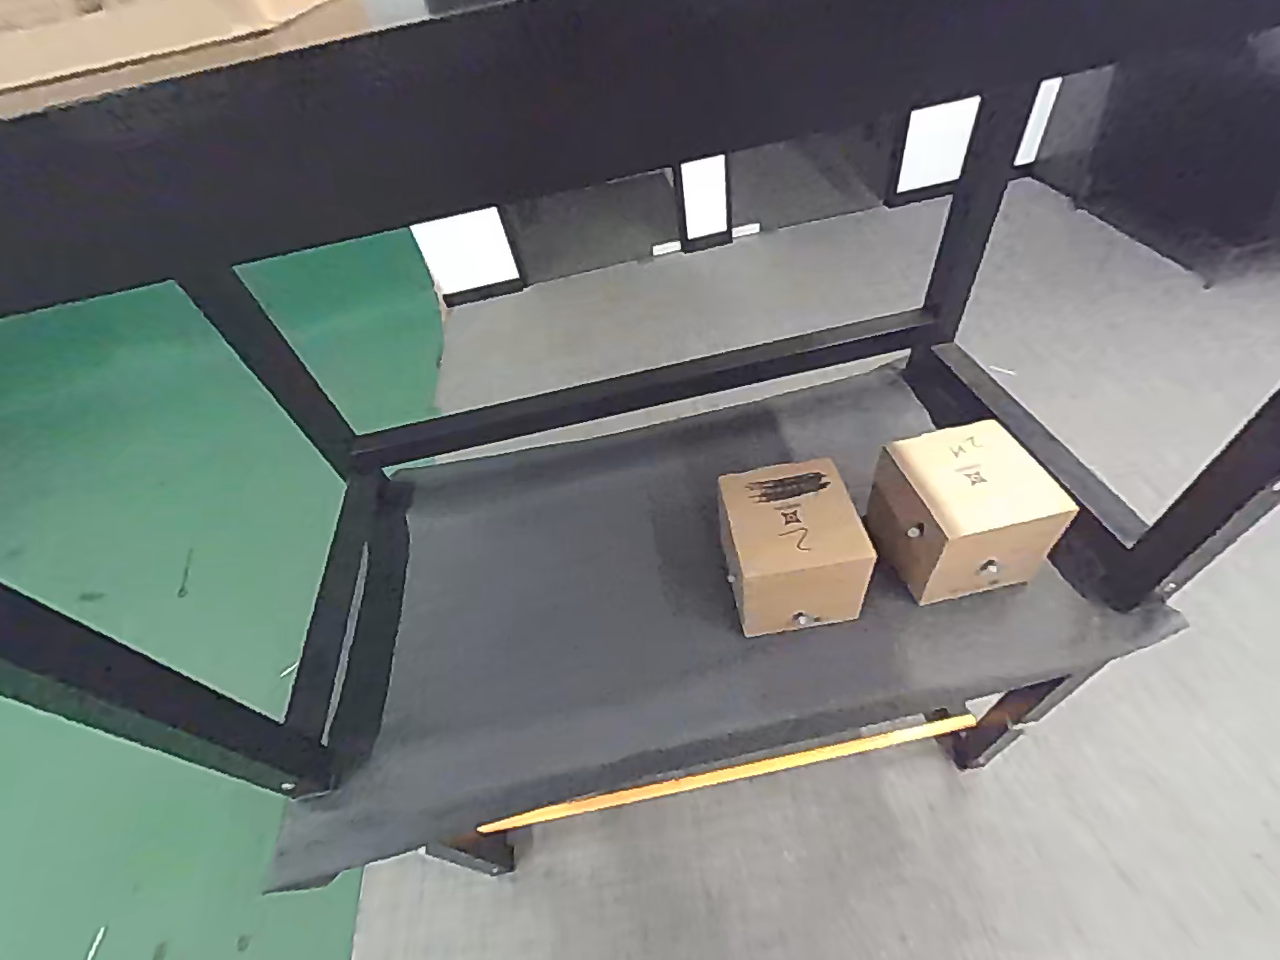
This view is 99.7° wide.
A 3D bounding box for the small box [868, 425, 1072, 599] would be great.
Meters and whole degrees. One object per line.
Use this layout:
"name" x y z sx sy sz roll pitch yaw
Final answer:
"small box" 0.451 0.053 0.776 0.168 0.176 0.179 -13 46 0
